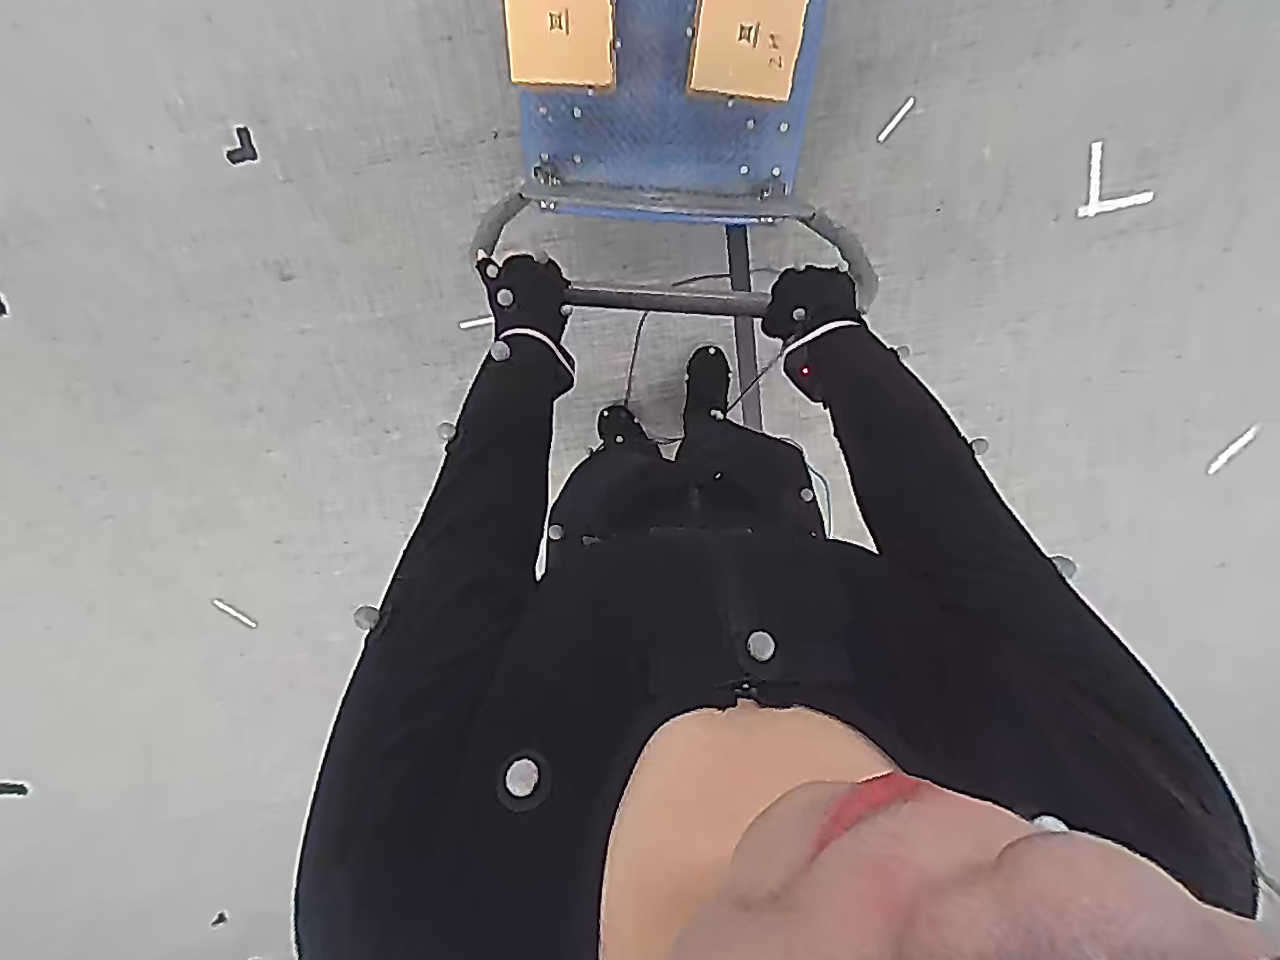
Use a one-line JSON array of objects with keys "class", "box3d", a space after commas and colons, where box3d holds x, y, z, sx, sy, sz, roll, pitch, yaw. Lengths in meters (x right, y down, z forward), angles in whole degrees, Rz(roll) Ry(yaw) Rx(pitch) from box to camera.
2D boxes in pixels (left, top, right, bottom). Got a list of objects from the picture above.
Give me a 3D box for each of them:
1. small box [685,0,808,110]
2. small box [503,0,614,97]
[{"class": "small box", "box3d": [0.180, -0.774, 0.967, 0.179, 0.176, 0.168, 5, 121, -3]}, {"class": "small box", "box3d": [-0.137, -0.788, 0.958, 0.179, 0.176, 0.168, -1, 121, -2]}]
